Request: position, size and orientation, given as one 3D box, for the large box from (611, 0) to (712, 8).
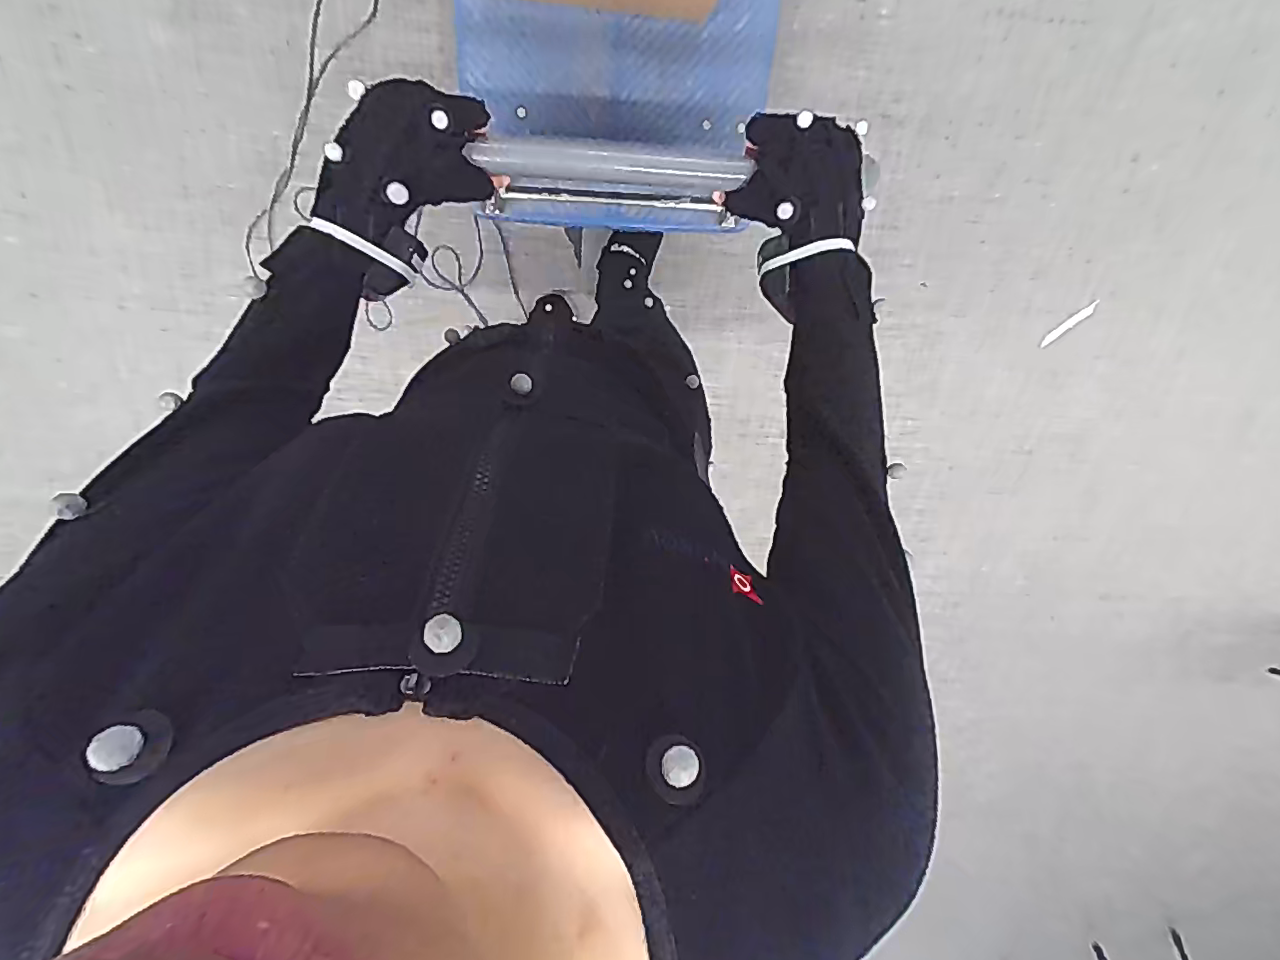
[{"bbox_3d":[-0.058,-0.922,0.761,0.408,0.320,0.320,3,115,-4],"label":"large box"}]
